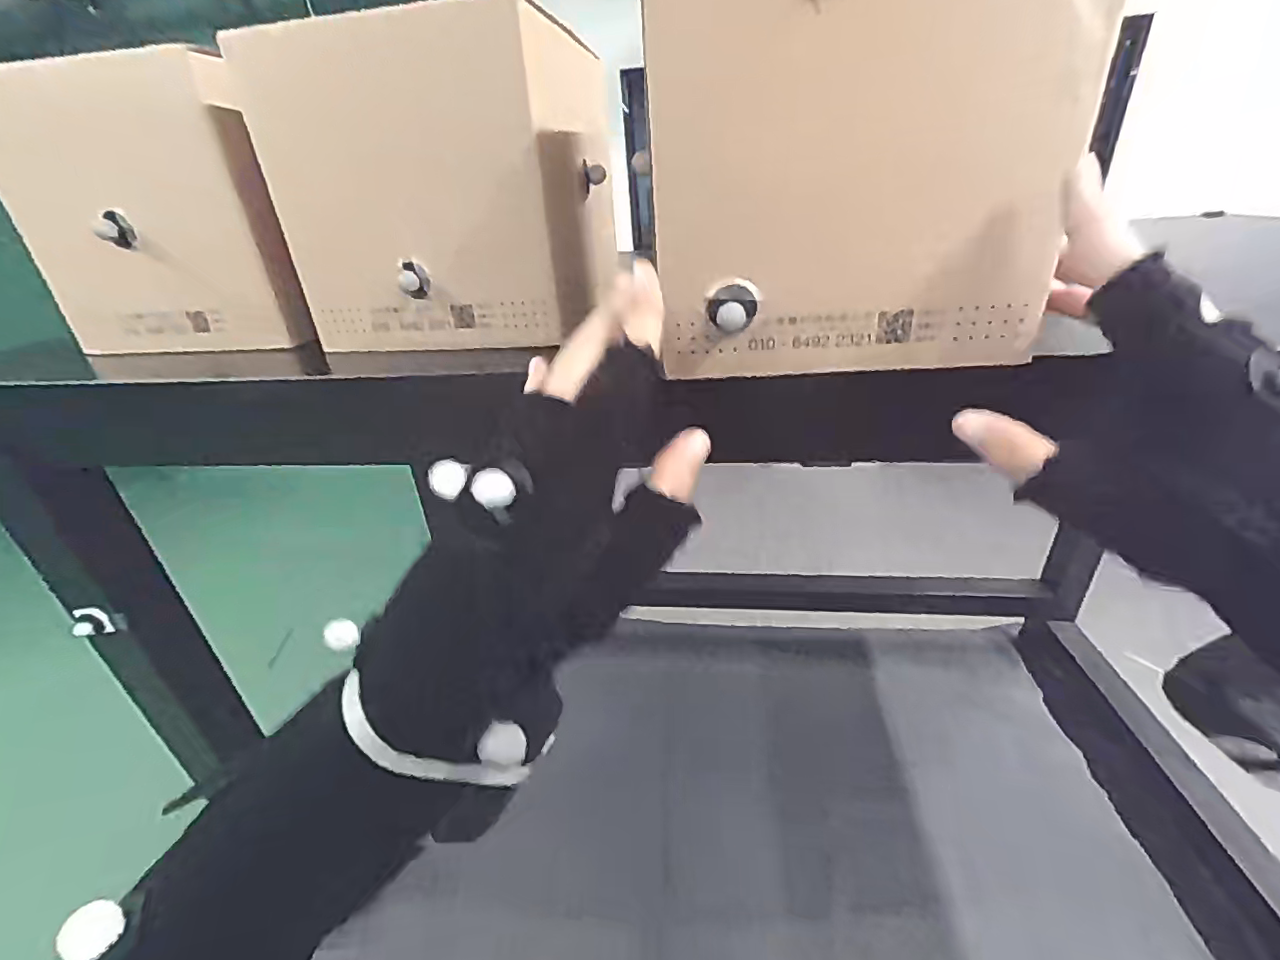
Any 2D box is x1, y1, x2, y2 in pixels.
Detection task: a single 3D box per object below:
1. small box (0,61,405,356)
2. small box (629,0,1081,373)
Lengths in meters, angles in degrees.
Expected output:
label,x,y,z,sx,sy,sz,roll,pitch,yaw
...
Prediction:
label,x,y,z,sx,sy,sz,roll,pitch,yaw
small box,-0.311,-0.198,0.421,0.168,0.176,0.179,1,28,8
small box,0.090,-0.158,0.290,0.168,0.176,0.179,-1,27,6
